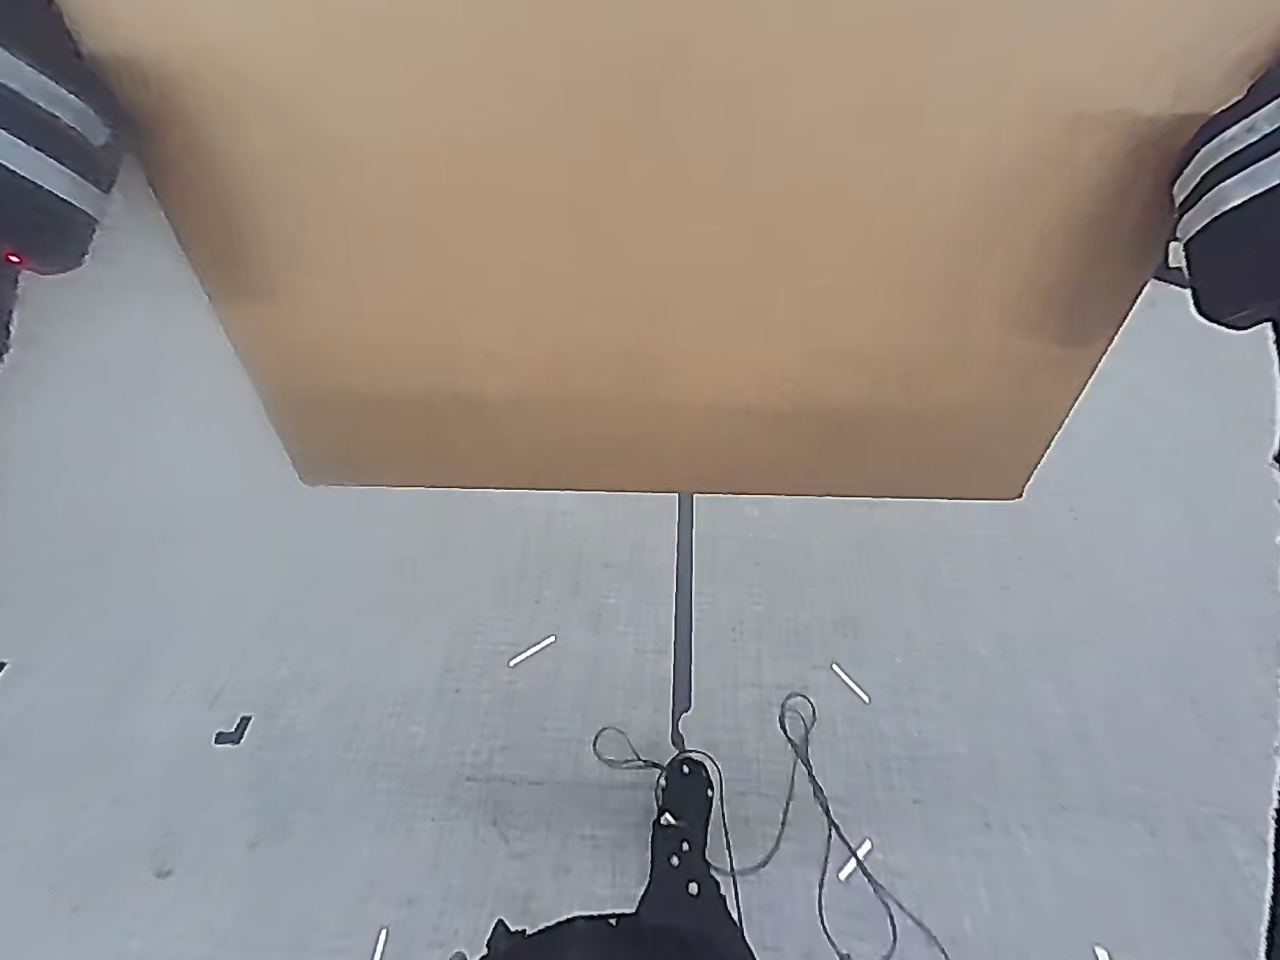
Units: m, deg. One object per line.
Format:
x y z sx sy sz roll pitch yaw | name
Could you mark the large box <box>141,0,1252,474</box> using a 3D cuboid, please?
0.018 -0.214 0.341 0.408 0.320 0.320 2 39 0 | large box
